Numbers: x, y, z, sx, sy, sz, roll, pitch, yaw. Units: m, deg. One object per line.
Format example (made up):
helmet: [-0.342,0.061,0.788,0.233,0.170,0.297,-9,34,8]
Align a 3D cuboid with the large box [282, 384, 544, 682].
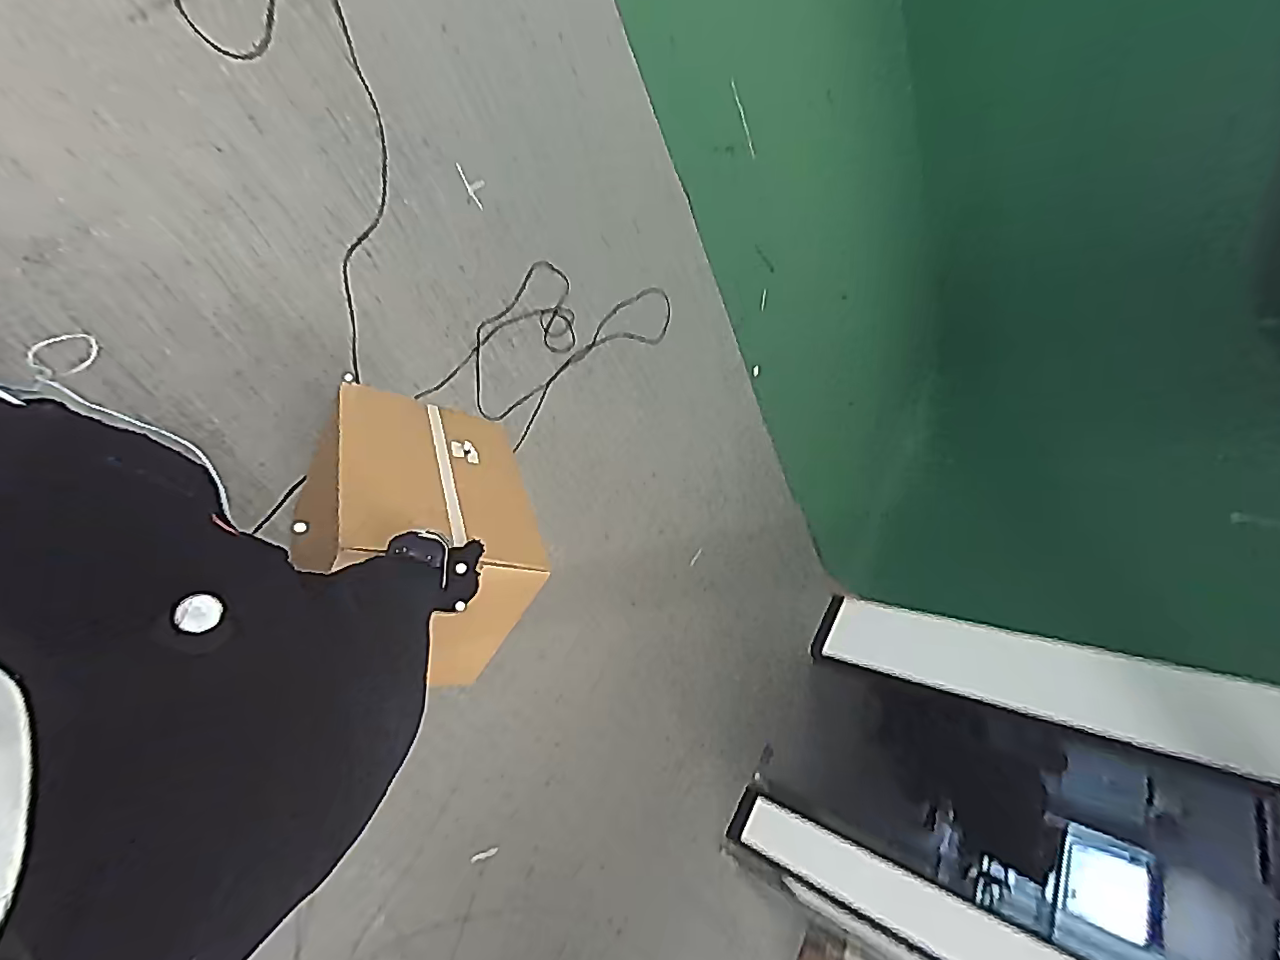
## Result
large box: [-0.421,0.098,0.972,0.320,0.408,0.320,17,121,-38]
